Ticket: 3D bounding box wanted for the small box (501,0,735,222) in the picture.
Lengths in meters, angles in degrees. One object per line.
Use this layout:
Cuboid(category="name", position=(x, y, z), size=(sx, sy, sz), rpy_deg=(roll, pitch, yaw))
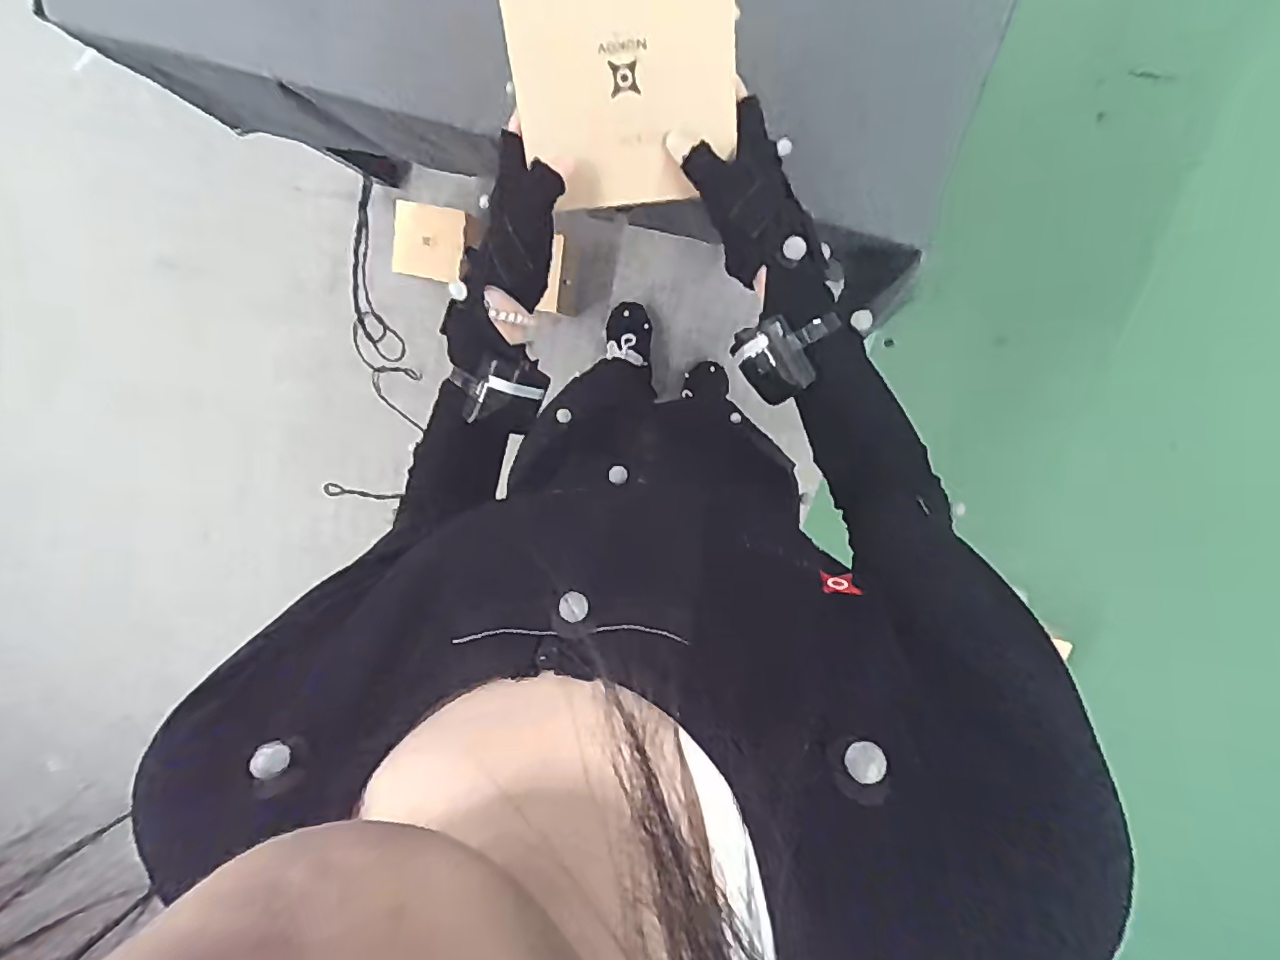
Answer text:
Cuboid(category="small box", position=(-0.012, -0.326, 0.468), size=(0.168, 0.176, 0.179), rpy_deg=(-4, 117, 3))
